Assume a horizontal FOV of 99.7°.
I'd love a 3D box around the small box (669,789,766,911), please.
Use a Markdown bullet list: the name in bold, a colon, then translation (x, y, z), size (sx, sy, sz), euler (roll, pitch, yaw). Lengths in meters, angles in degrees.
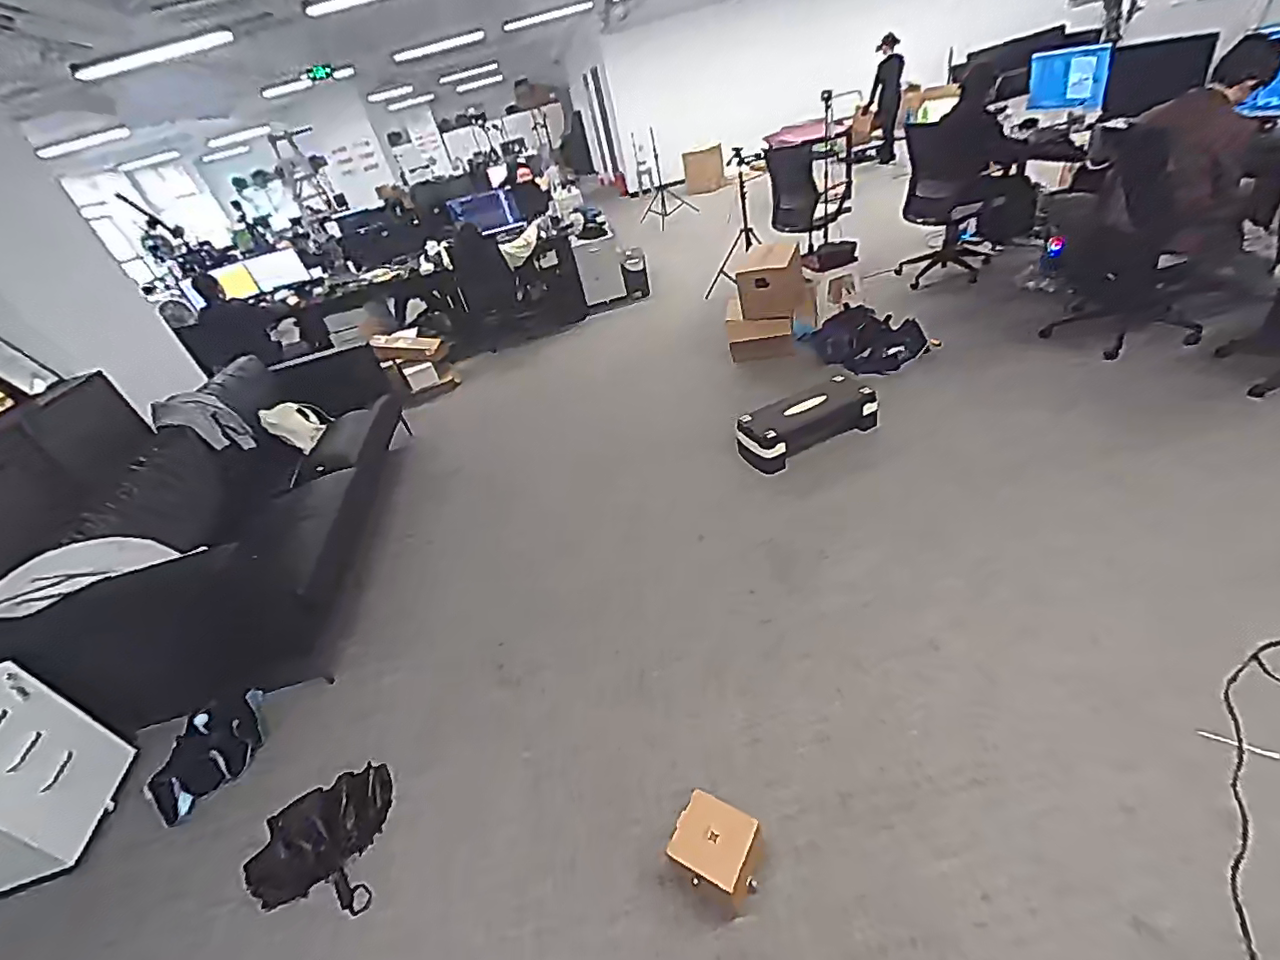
- **small box**: translation (0.197, 0.914, 1.333), size (0.179, 0.176, 0.168), euler (11, 44, 32)
